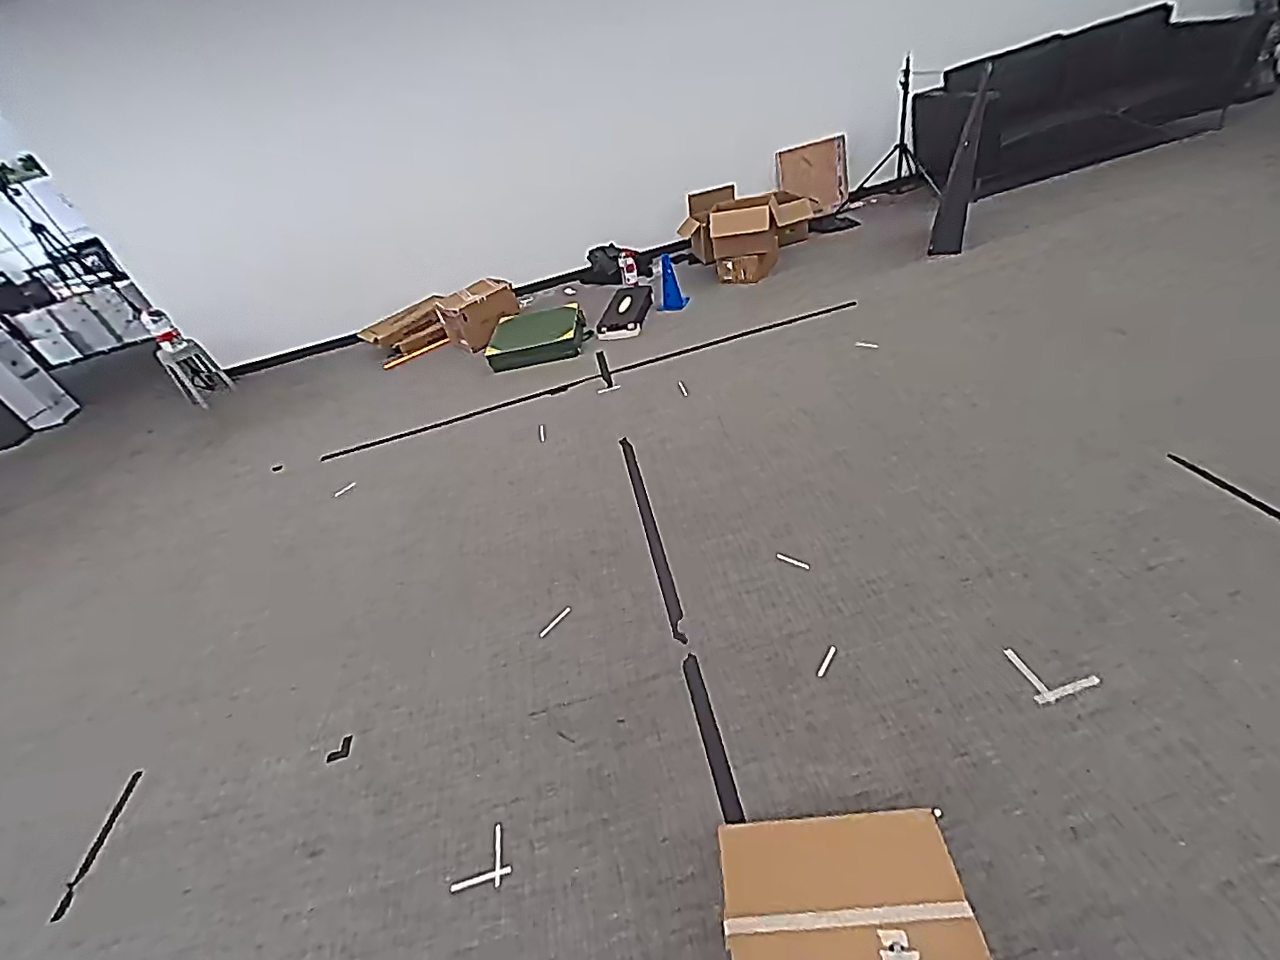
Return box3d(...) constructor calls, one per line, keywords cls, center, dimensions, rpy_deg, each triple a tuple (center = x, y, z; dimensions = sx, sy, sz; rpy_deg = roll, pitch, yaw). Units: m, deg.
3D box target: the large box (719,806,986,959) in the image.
box3d(cls="large box", center=(0.381, 0.862, 1.020), dimensions=(0.408, 0.320, 0.320), rpy_deg=(-9, 38, 7))
